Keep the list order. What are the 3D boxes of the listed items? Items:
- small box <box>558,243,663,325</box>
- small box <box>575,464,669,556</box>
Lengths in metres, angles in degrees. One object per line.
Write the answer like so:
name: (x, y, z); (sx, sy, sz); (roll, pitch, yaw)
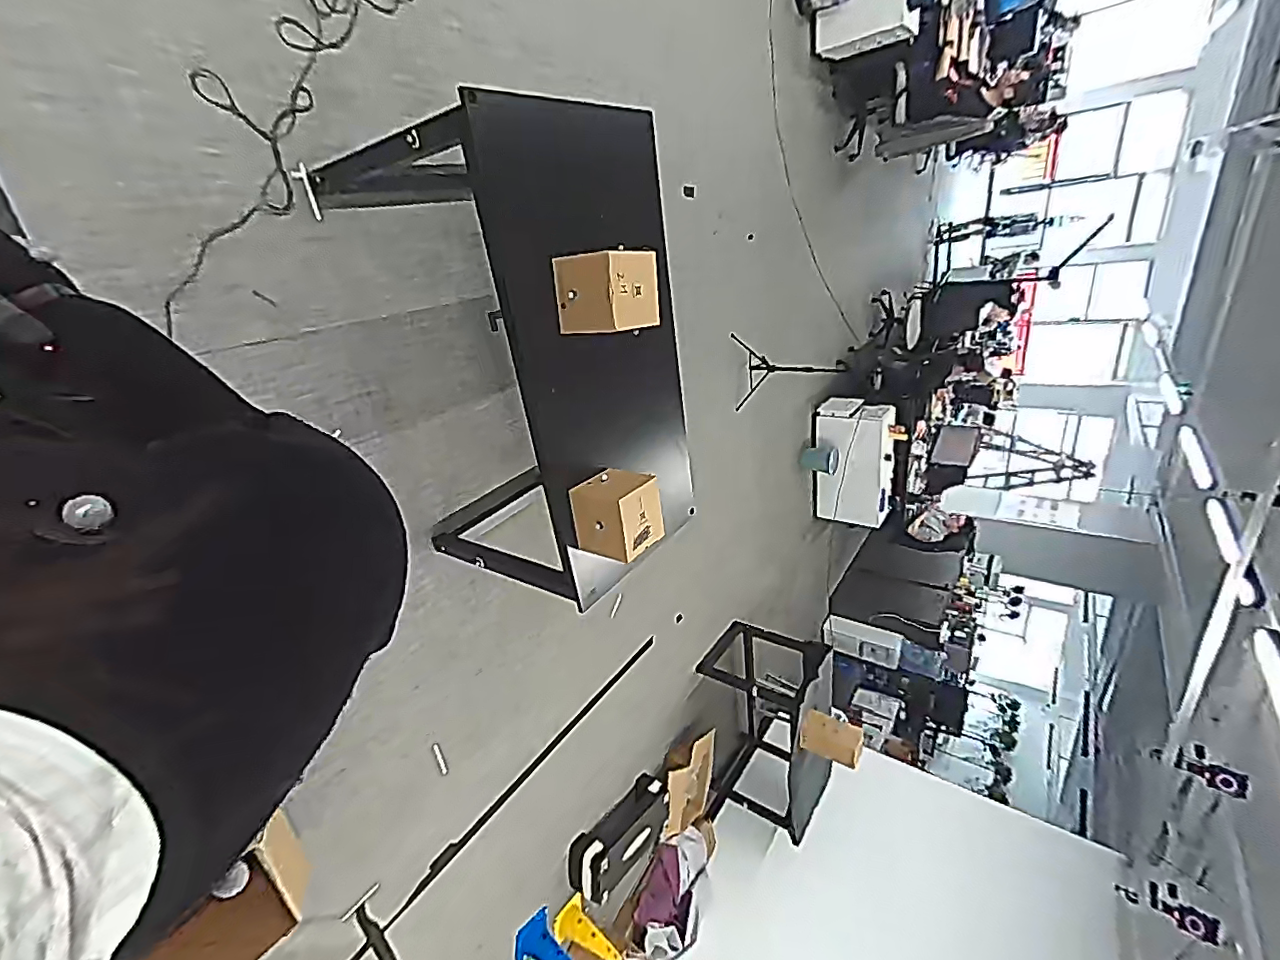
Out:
small box: (-0.066, -0.451, 1.249); (0.179, 0.176, 0.168); (-27, 119, -47)
small box: (-0.047, 0.070, 1.402); (0.168, 0.176, 0.179); (-32, 122, -46)
